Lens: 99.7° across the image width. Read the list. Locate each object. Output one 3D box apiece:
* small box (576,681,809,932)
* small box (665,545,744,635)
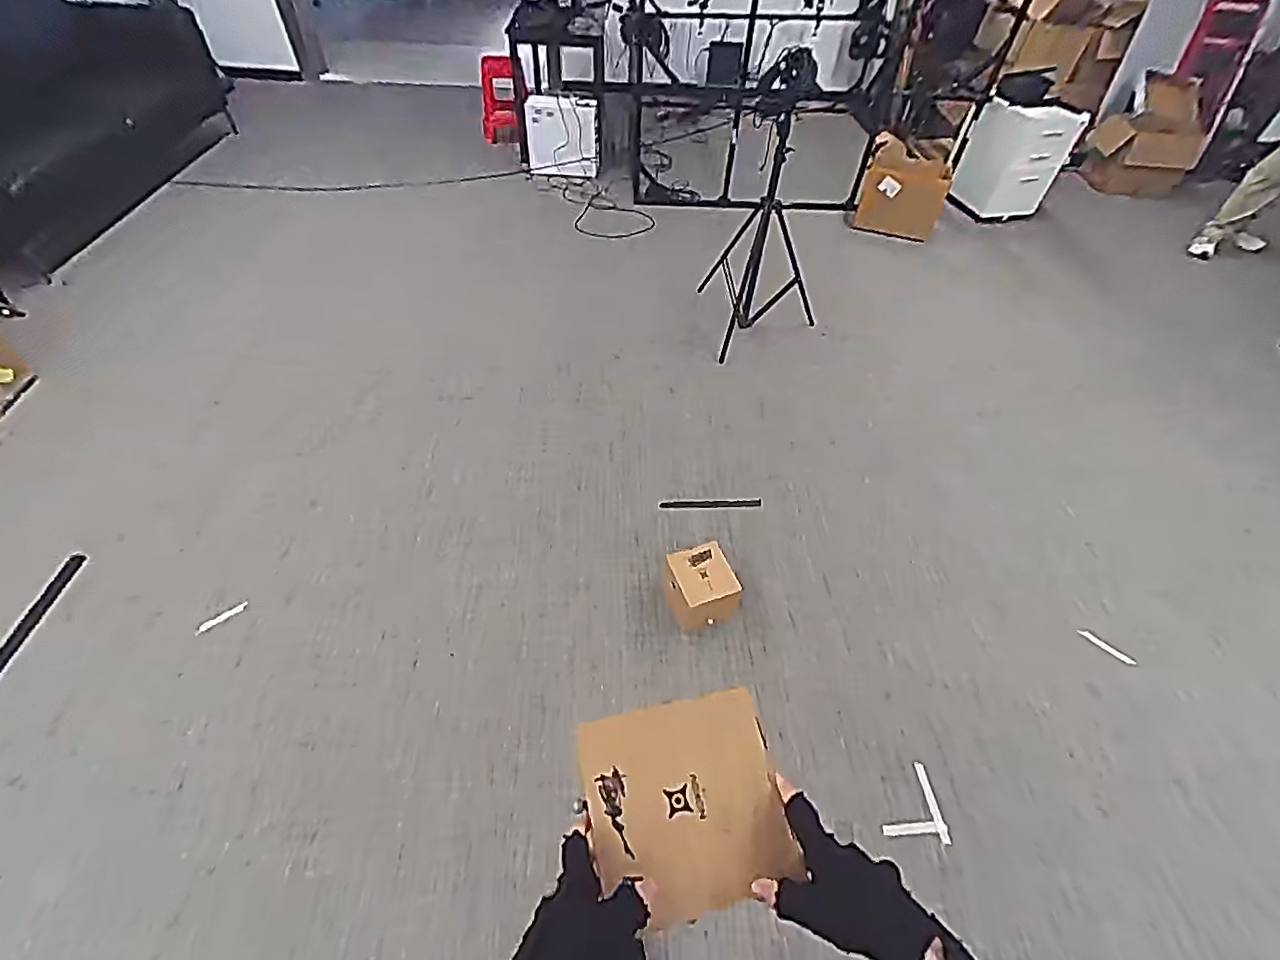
[{"bbox_3d":[0.034,0.319,0.543,0.179,0.176,0.168,-7,57,-12],"label":"small box"},{"bbox_3d":[0.182,0.325,1.594,0.168,0.176,0.179,-15,52,-15],"label":"small box"}]
